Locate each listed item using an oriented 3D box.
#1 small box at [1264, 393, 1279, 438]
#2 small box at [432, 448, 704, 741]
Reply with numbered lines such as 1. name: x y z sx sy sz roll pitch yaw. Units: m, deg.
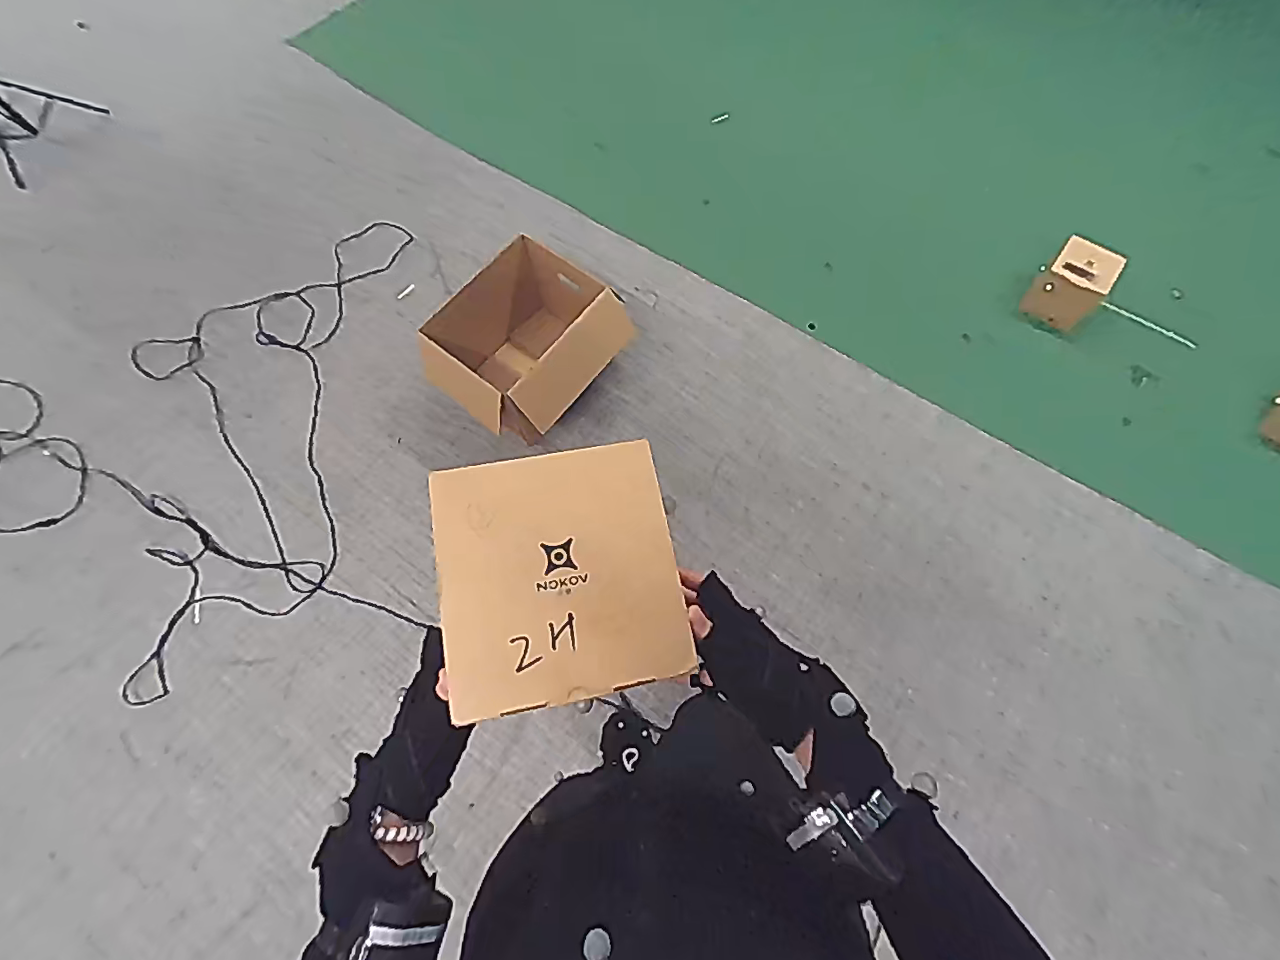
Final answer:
1. small box: 1.889 -0.182 1.466 0.179 0.176 0.168 35 73 14
2. small box: -0.060 0.094 0.441 0.168 0.176 0.179 -9 73 -8
